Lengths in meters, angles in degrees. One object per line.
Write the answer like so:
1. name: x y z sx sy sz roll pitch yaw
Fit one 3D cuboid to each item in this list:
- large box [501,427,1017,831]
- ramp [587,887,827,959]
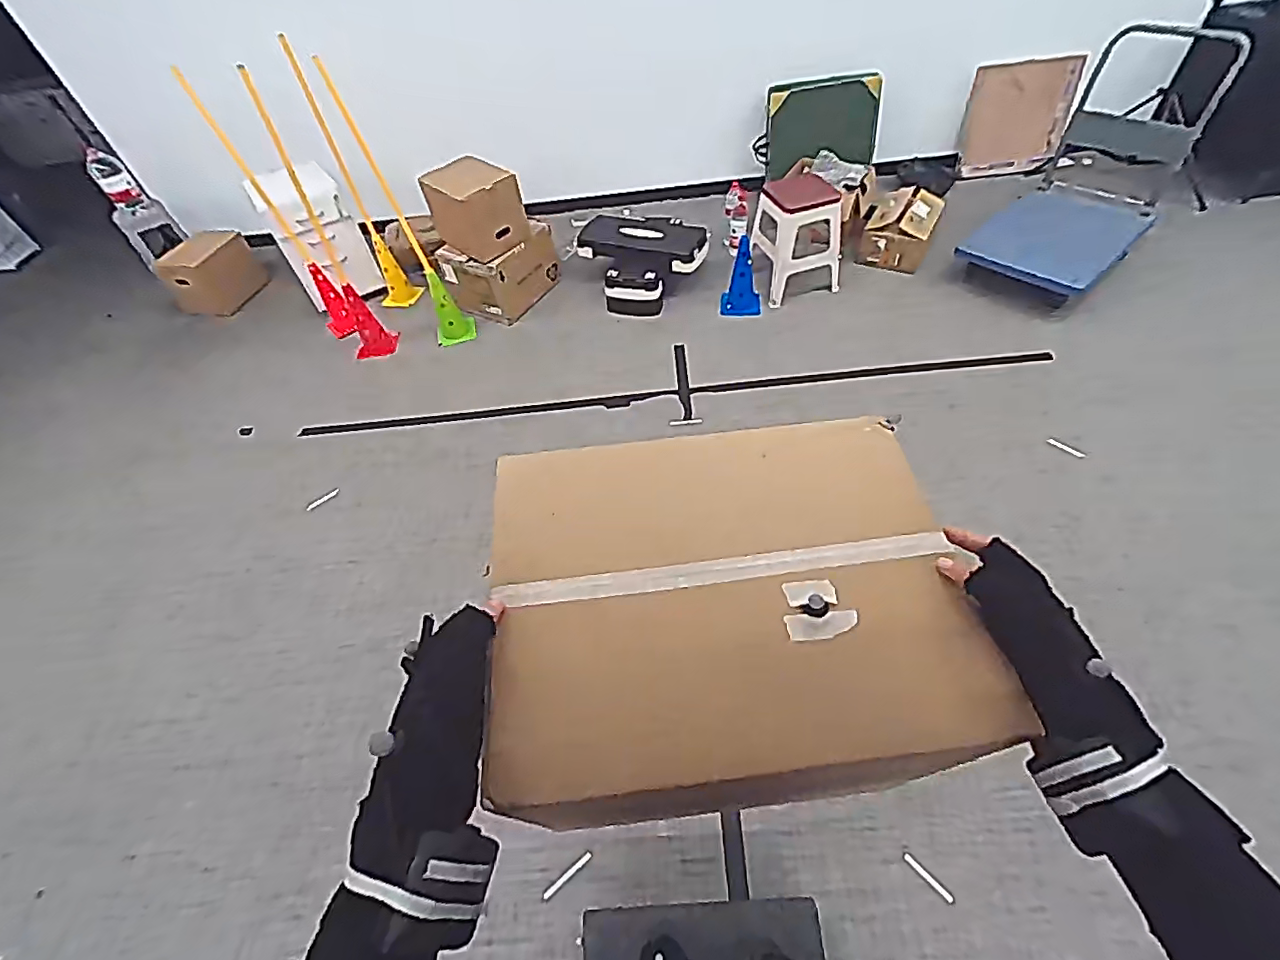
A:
1. large box: 0.079 0.176 0.607 0.408 0.320 0.320 -6 55 -2
2. ramp: 0.160 1.316 0.913 0.509 0.206 0.991 -6 51 1
